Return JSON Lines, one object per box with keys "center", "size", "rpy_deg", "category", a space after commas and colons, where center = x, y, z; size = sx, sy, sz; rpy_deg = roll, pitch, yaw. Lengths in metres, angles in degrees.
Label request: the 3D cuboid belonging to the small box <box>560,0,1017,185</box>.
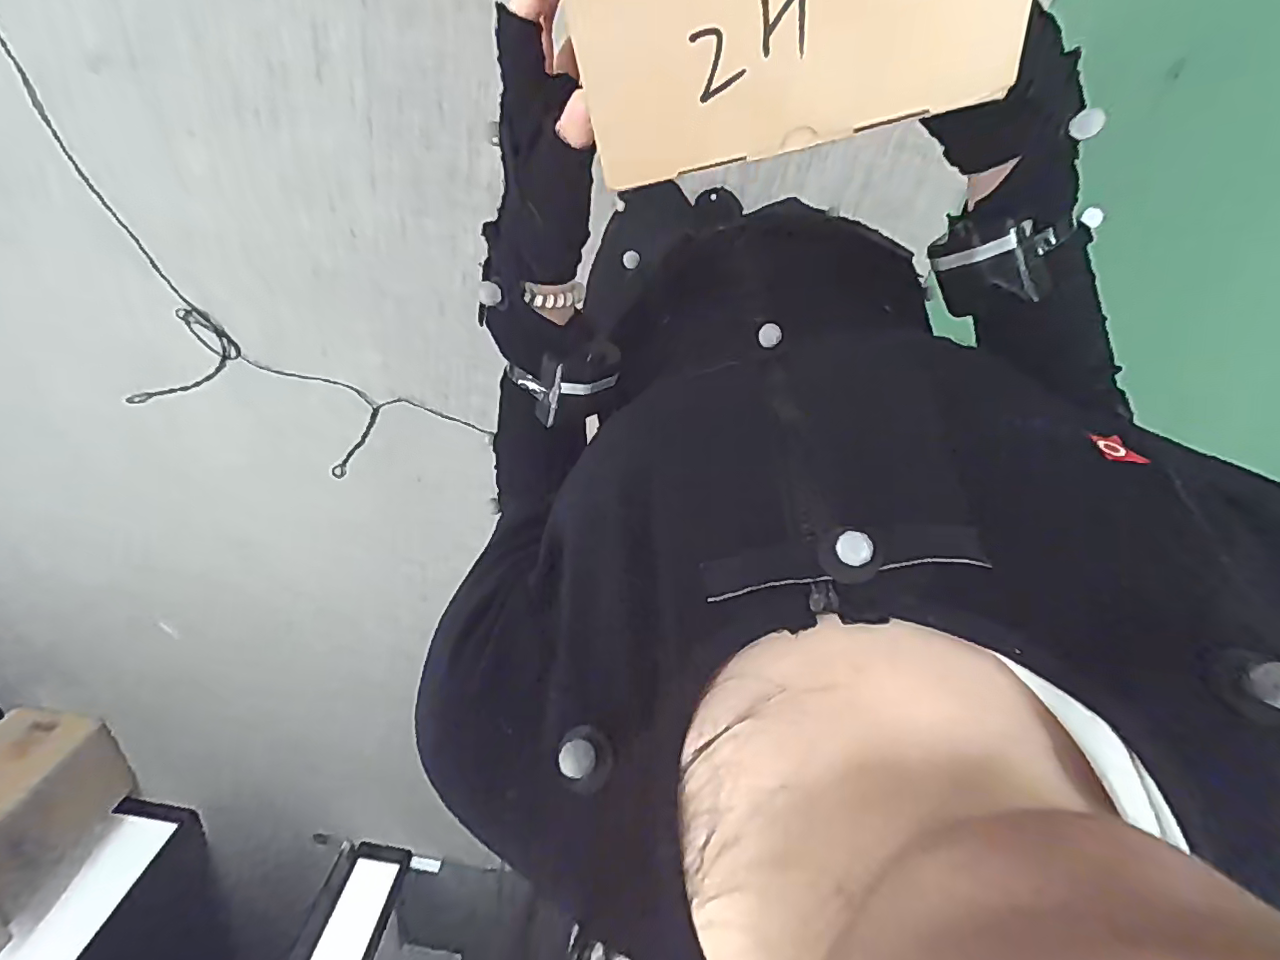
{"center": [0.044, -0.256, 0.230], "size": [0.168, 0.176, 0.179], "rpy_deg": [-9, 131, 9], "category": "small box"}
